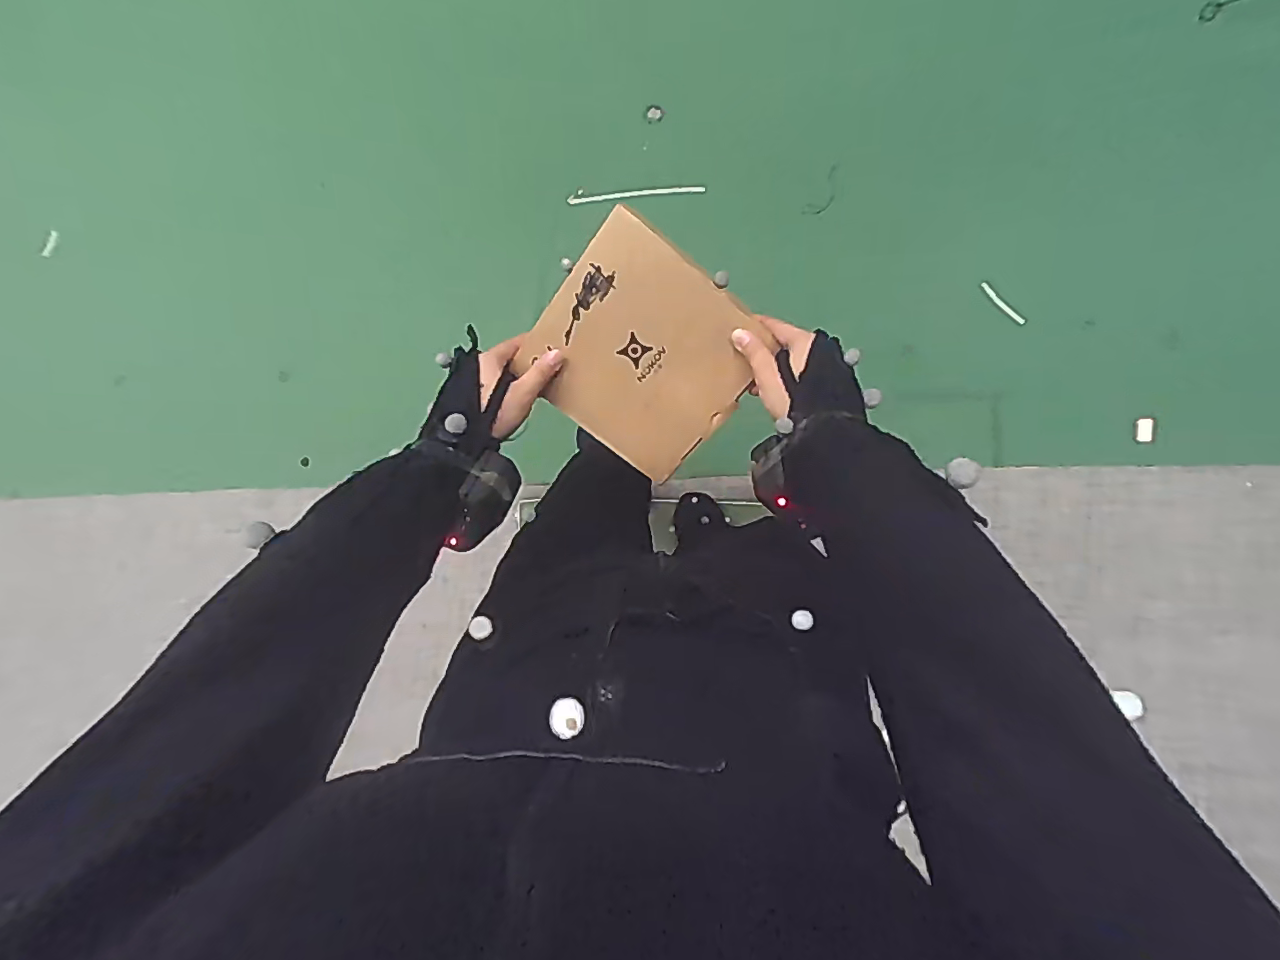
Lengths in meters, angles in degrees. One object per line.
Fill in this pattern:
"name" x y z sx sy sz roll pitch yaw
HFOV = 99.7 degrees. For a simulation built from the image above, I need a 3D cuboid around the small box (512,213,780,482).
"small box" 0.009 -0.135 0.536 0.179 0.176 0.168 37 111 -11
